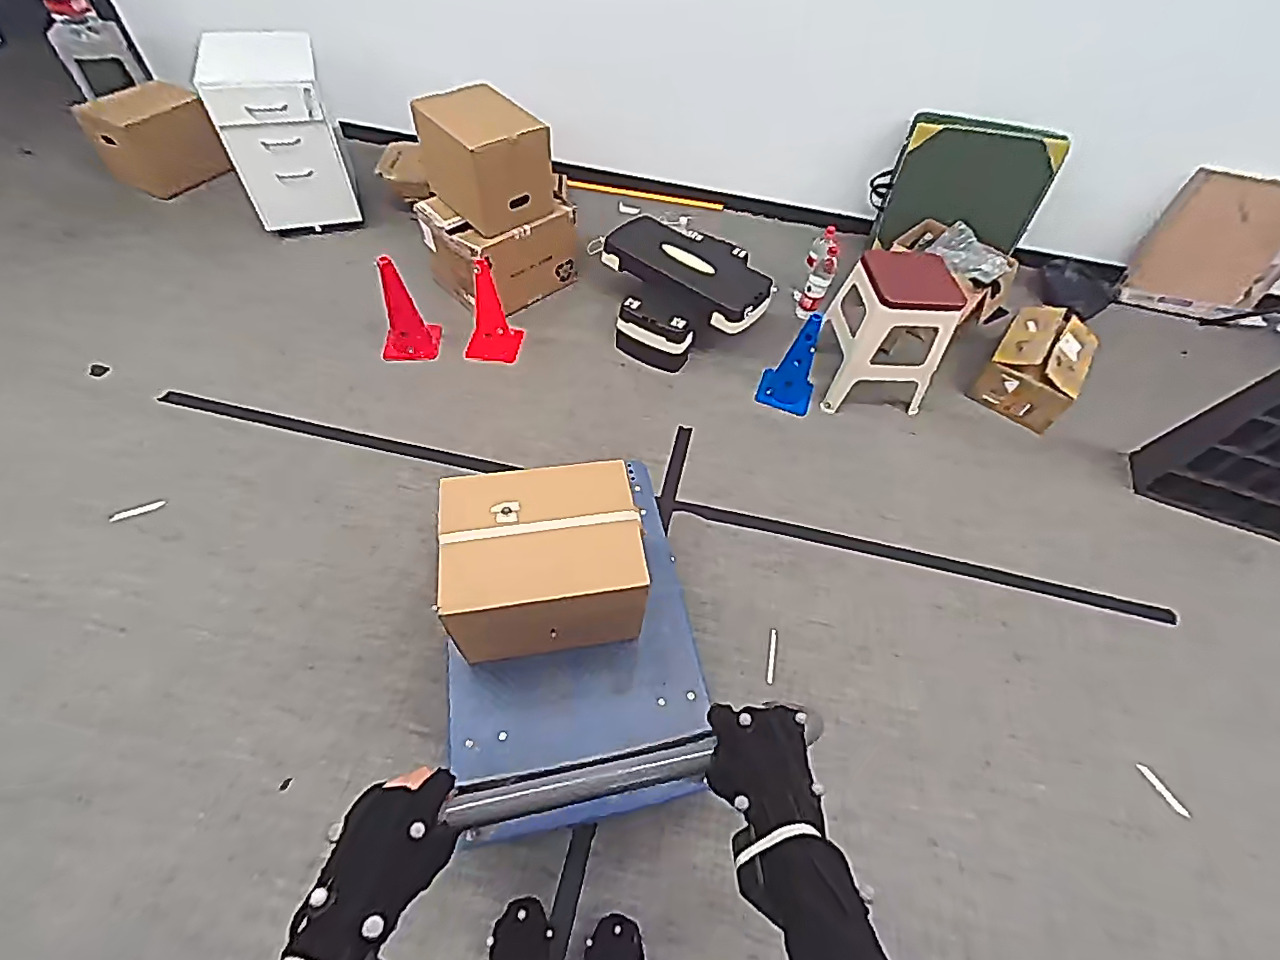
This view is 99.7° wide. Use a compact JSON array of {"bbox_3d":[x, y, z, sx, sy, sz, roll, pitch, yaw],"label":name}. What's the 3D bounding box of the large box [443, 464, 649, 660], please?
[{"bbox_3d":[-0.212,0.194,1.249,0.408,0.320,0.320,-7,56,-9],"label":"large box"}]
